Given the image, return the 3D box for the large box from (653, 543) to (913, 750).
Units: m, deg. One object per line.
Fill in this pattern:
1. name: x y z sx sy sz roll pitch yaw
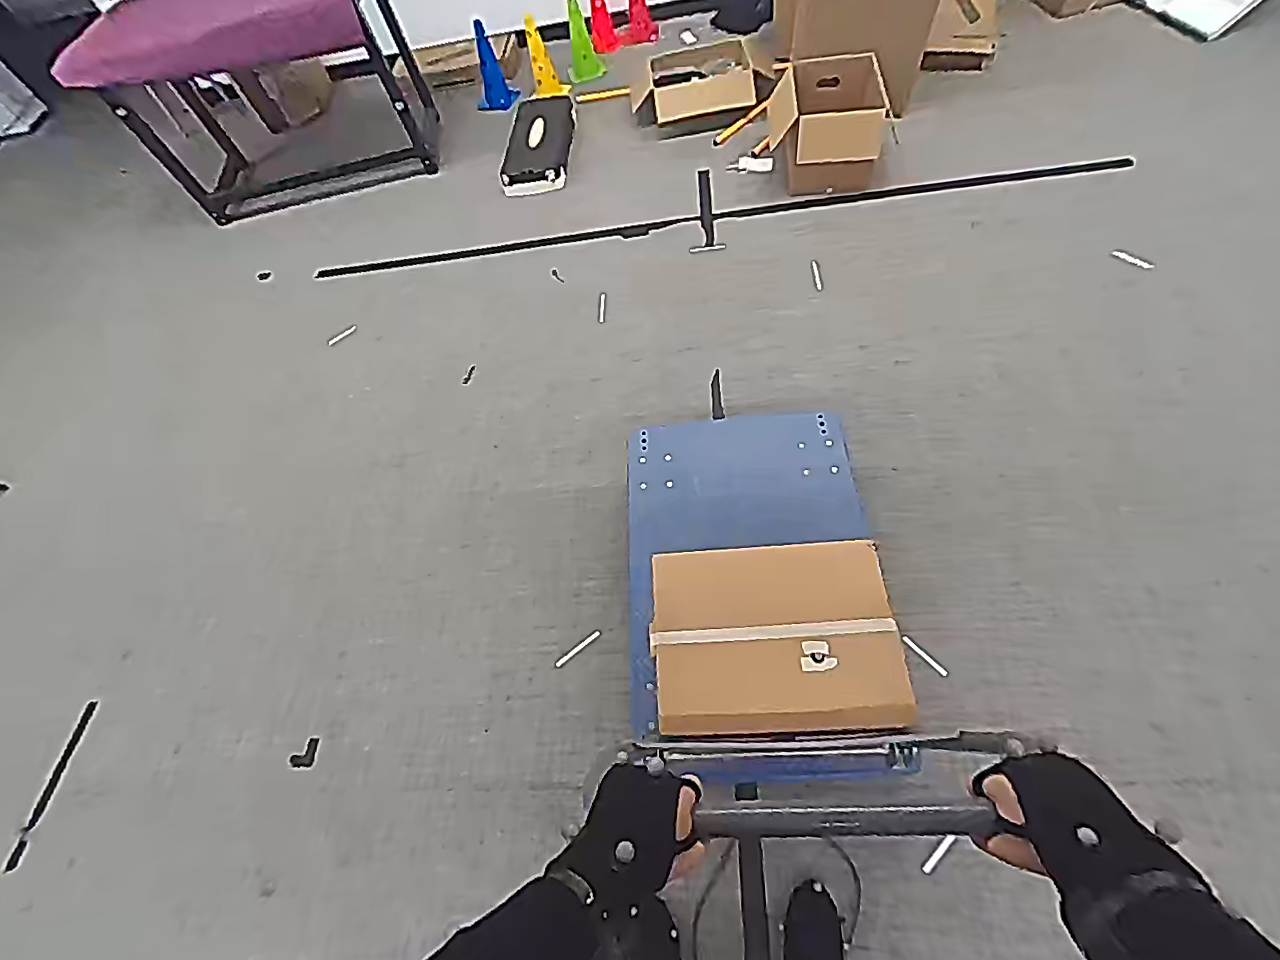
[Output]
1. large box: 0.245 0.342 1.066 0.408 0.320 0.320 -5 61 5
